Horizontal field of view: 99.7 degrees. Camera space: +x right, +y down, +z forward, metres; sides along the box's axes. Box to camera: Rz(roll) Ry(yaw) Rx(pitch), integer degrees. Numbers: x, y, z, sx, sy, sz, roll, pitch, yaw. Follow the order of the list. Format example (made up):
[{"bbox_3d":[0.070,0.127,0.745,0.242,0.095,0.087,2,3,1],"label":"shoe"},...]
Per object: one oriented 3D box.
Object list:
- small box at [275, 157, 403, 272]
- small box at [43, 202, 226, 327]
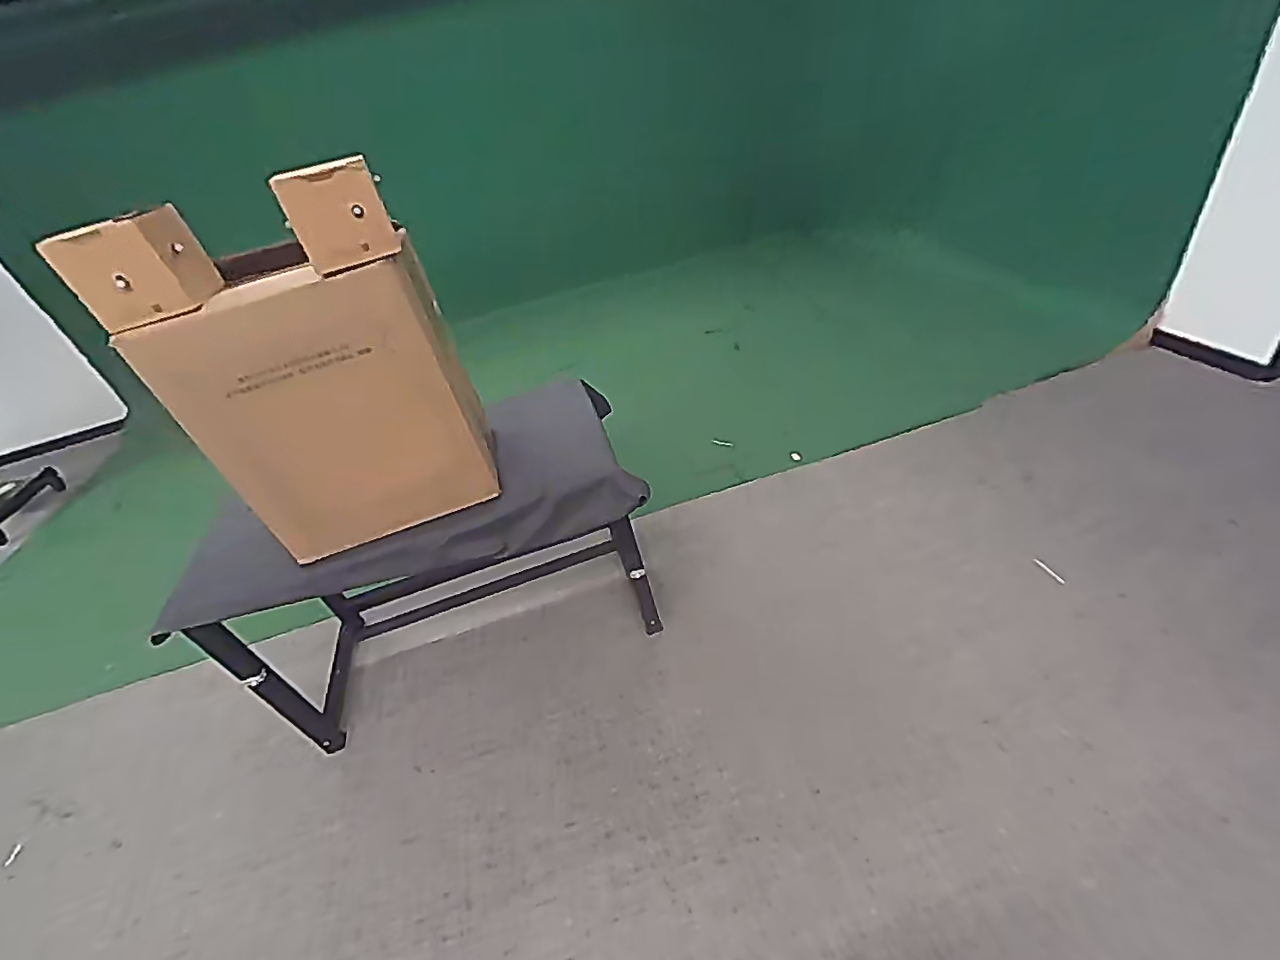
[{"bbox_3d":[-0.590,-0.529,1.081,0.168,0.176,0.179,-22,37,-14],"label":"small box"},{"bbox_3d":[-0.956,-0.415,1.049,0.168,0.176,0.179,-19,38,-5],"label":"small box"}]
